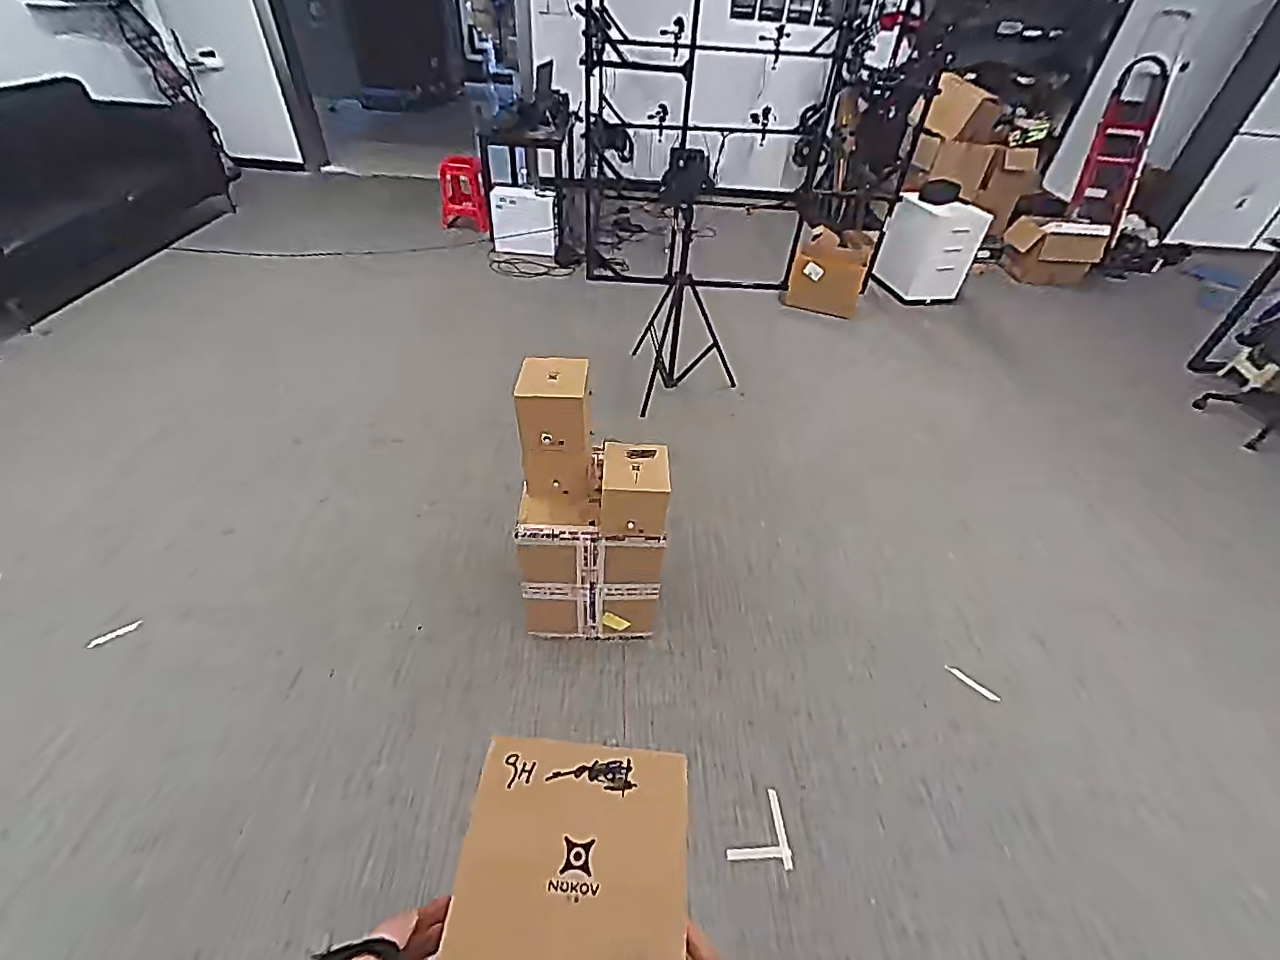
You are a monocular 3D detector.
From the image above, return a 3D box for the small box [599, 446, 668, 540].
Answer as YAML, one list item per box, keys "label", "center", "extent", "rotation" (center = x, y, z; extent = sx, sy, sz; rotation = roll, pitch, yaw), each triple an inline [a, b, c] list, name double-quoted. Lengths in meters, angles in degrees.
- label: "small box"
  center: [-0.020, 0.033, 1.403]
  extent: [0.168, 0.176, 0.179]
  rotation: [3, 44, -3]

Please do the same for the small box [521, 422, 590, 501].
- label: "small box"
  center: [-0.226, -0.064, 1.488]
  extent: [0.168, 0.176, 0.179]
  rotation: [1, 43, -2]

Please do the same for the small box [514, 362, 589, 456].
- label: "small box"
  center: [-0.217, -0.182, 1.377]
  extent: [0.168, 0.176, 0.179]
  rotation: [1, 44, -1]
